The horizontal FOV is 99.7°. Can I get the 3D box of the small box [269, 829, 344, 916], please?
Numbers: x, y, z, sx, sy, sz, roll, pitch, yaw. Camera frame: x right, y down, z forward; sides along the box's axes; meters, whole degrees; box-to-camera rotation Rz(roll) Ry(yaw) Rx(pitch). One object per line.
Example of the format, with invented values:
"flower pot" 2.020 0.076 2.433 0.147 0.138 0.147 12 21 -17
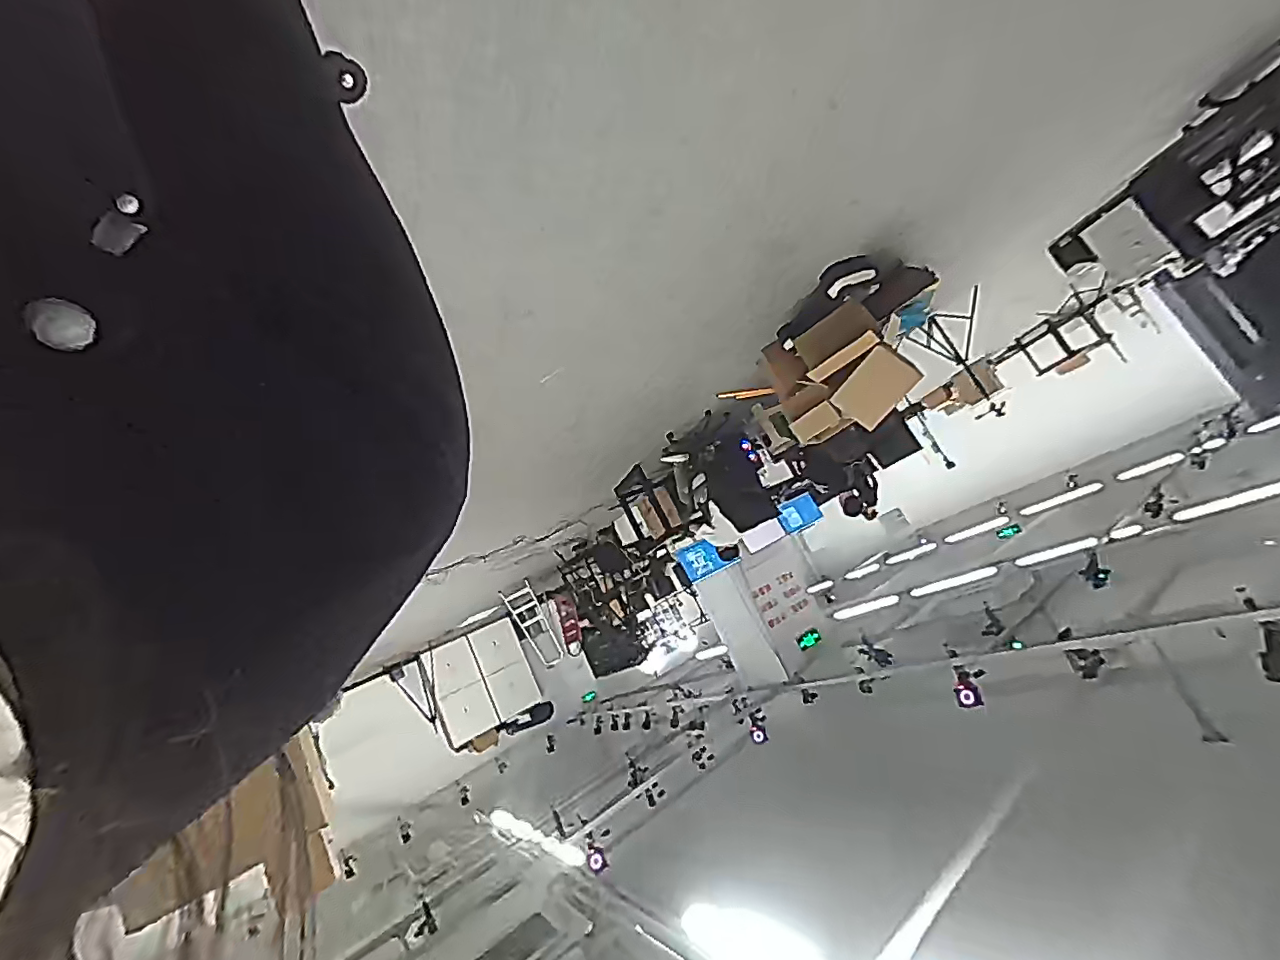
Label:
"small box" -1.142 1.333 1.850 0.179 0.176 0.168 -20 163 -28
